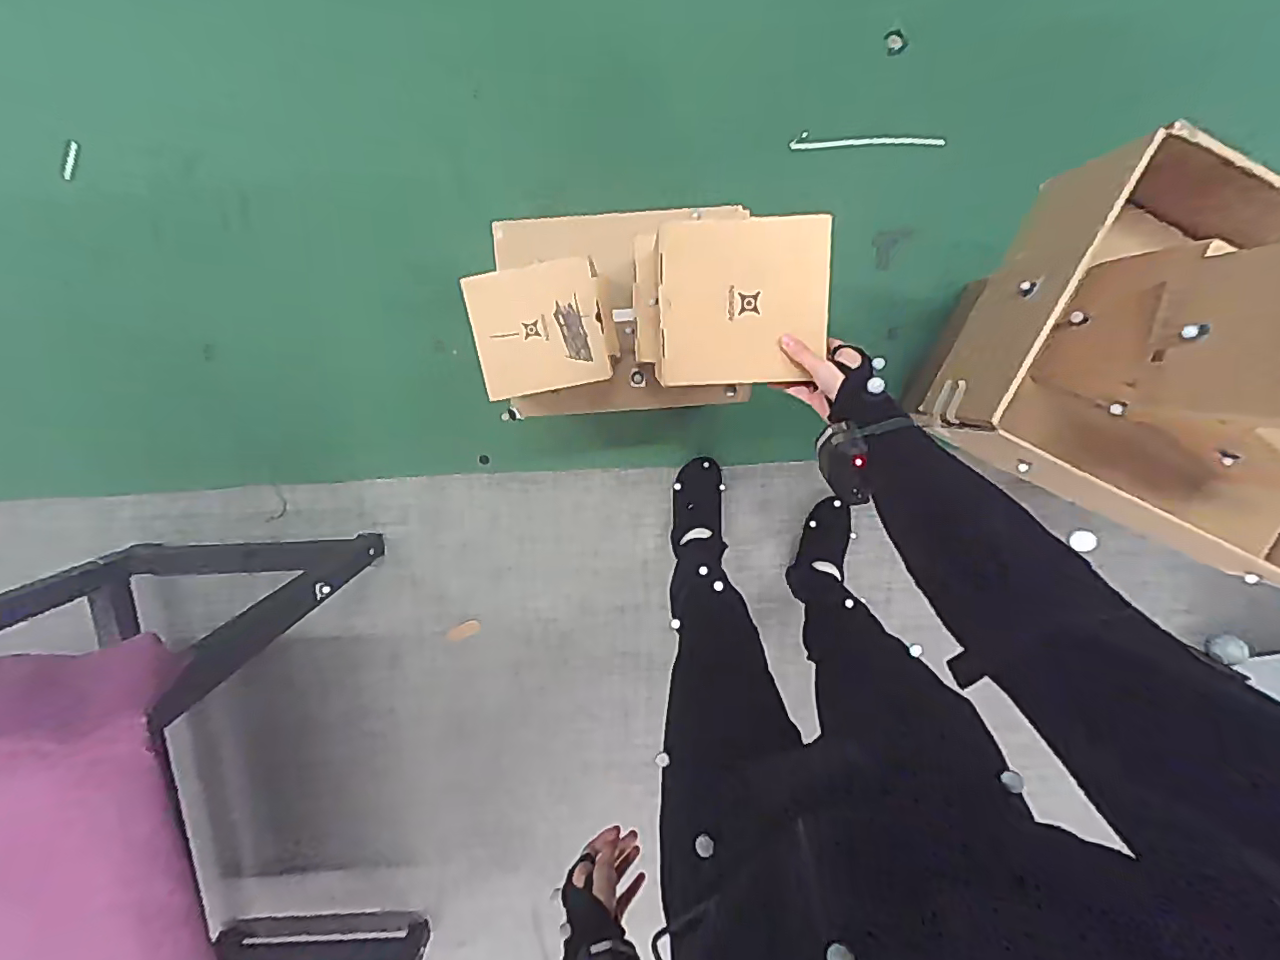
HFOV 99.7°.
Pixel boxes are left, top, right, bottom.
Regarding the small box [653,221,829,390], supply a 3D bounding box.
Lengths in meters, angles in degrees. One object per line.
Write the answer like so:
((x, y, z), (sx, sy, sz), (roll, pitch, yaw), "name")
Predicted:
((0.107, -0.199, 0.640), (0.179, 0.176, 0.168), (-3, 104, 2), "small box")

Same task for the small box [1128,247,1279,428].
((0.672, -0.140, 0.551), (0.179, 0.176, 0.168), (7, 100, -2), "small box")
